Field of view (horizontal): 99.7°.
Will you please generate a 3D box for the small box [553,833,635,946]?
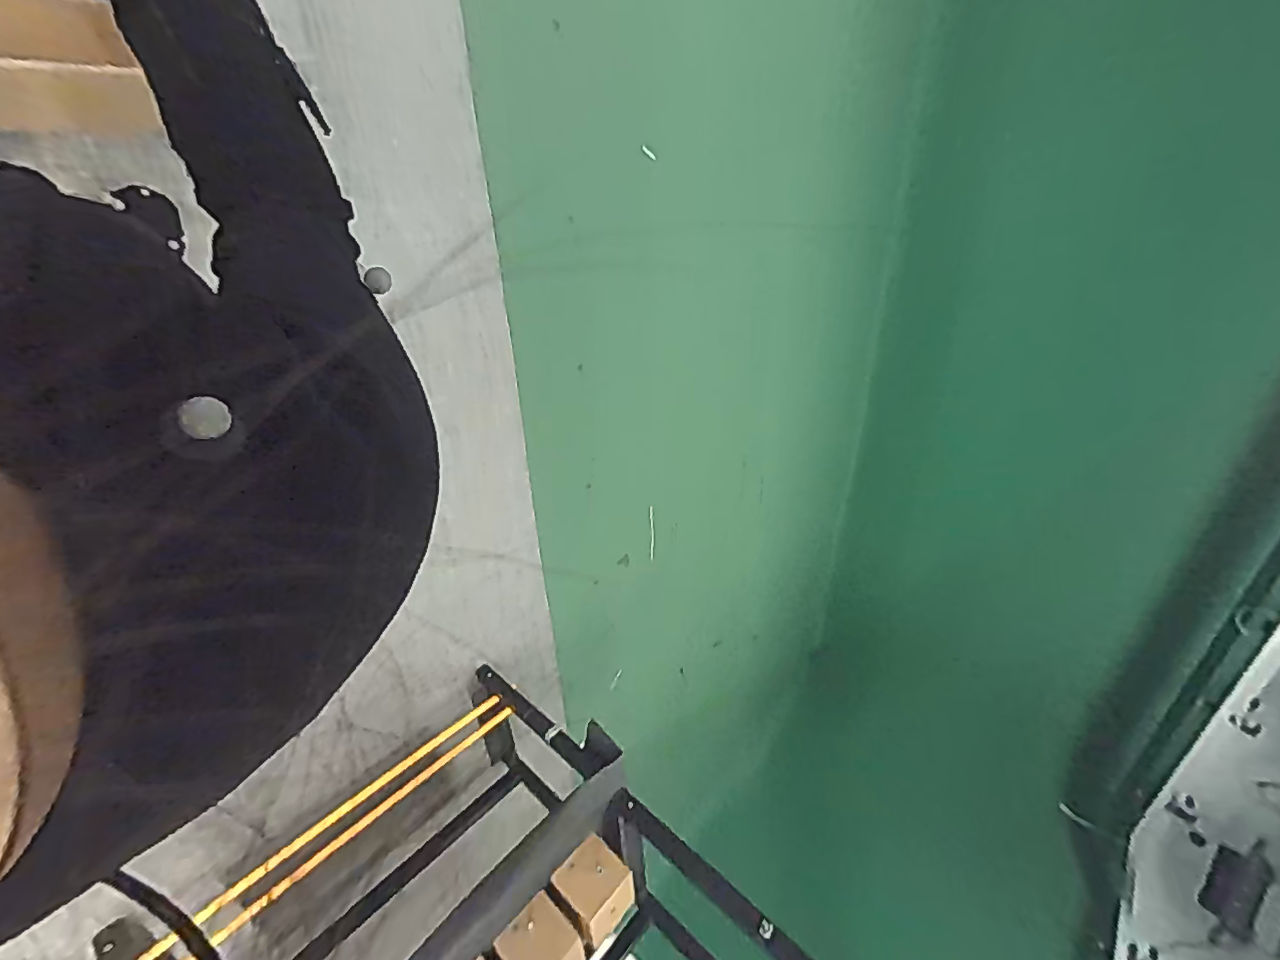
[{"bbox_3d":[-0.135,1.170,1.562,0.168,0.176,0.179,-31,130,-38],"label":"small box"}]
